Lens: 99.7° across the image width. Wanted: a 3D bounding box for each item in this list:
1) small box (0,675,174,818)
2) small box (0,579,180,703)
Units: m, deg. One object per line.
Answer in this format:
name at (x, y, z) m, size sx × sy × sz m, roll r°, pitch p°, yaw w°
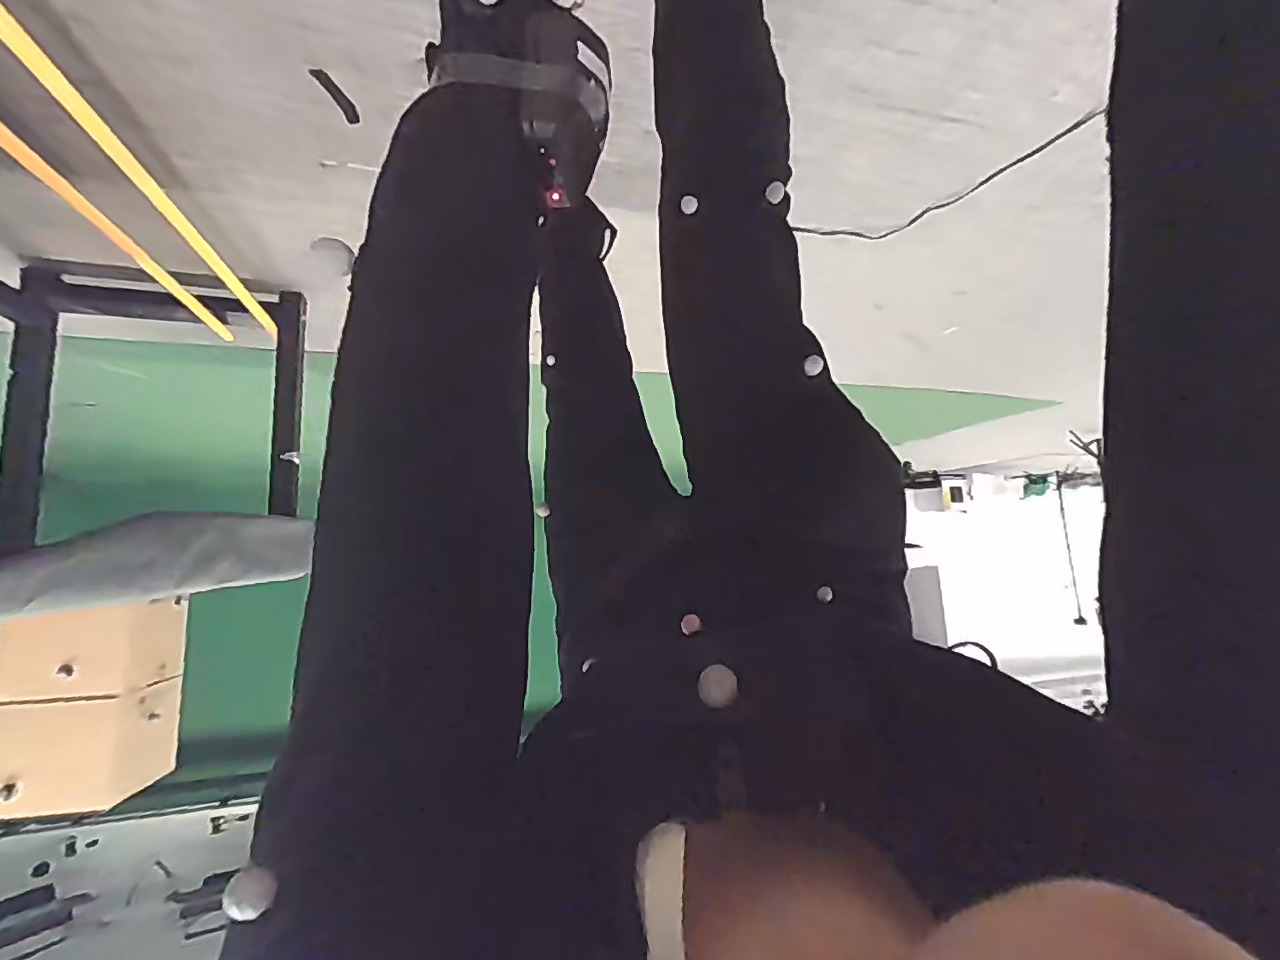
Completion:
small box at (-0.913, 0.421, 0.884) m, size 0.179 × 0.176 × 0.168 m, roll 0°, pitch 173°, yaw -10°
small box at (-0.914, 0.258, 0.905) m, size 0.179 × 0.176 × 0.168 m, roll 1°, pitch 172°, yaw -12°
